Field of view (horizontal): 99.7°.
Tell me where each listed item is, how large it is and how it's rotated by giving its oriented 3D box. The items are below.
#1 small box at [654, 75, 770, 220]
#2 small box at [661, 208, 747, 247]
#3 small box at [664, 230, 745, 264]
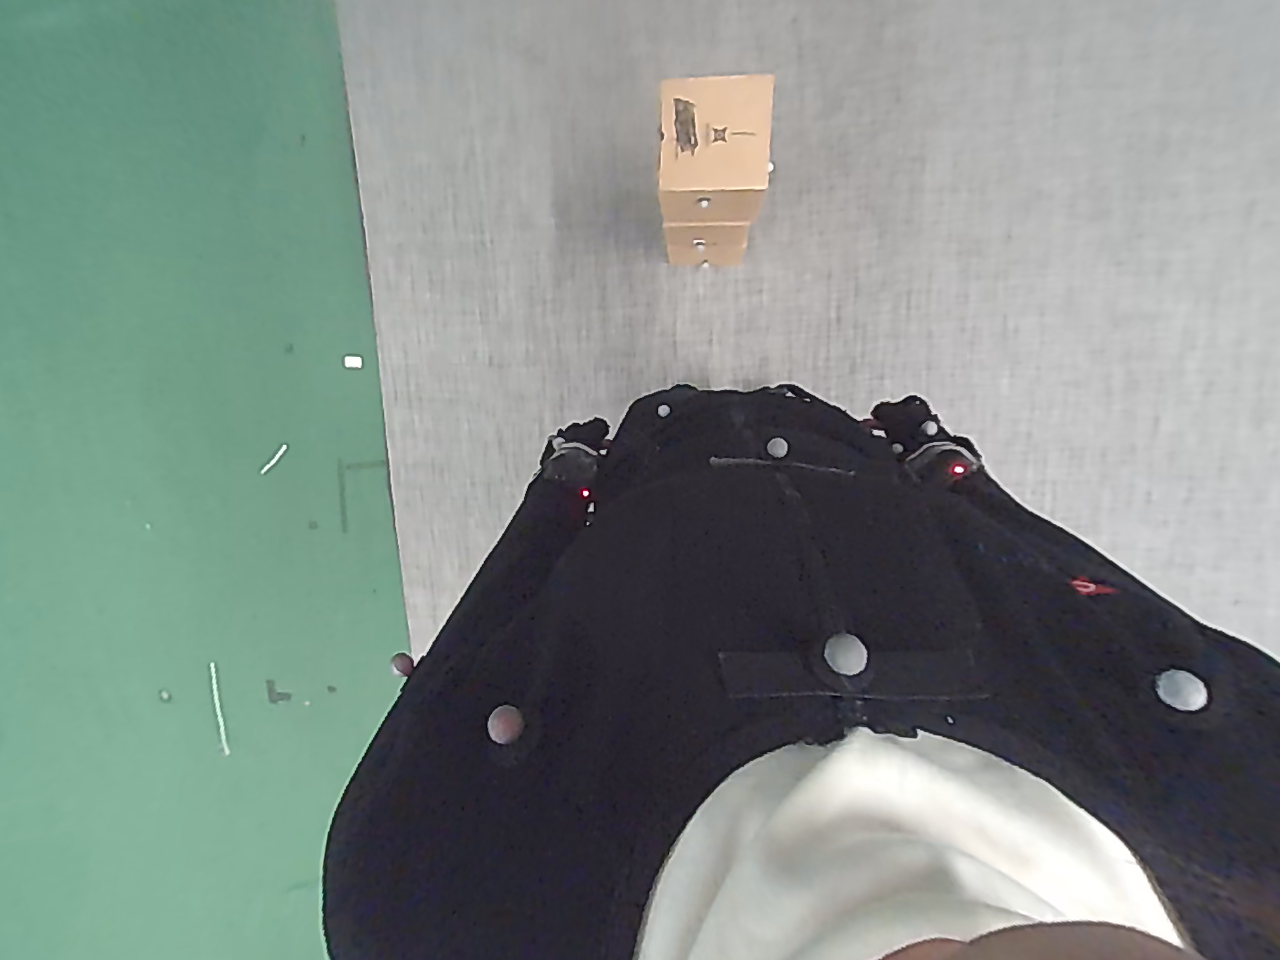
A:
[{"bbox_3d":[0.121,-0.559,0.930,0.179,0.176,0.168,3,100,6],"label":"small box"},{"bbox_3d":[0.132,-0.585,1.092,0.168,0.176,0.179,2,101,7],"label":"small box"},{"bbox_3d":[0.150,-0.606,1.252,0.179,0.176,0.168,3,100,5],"label":"small box"}]
